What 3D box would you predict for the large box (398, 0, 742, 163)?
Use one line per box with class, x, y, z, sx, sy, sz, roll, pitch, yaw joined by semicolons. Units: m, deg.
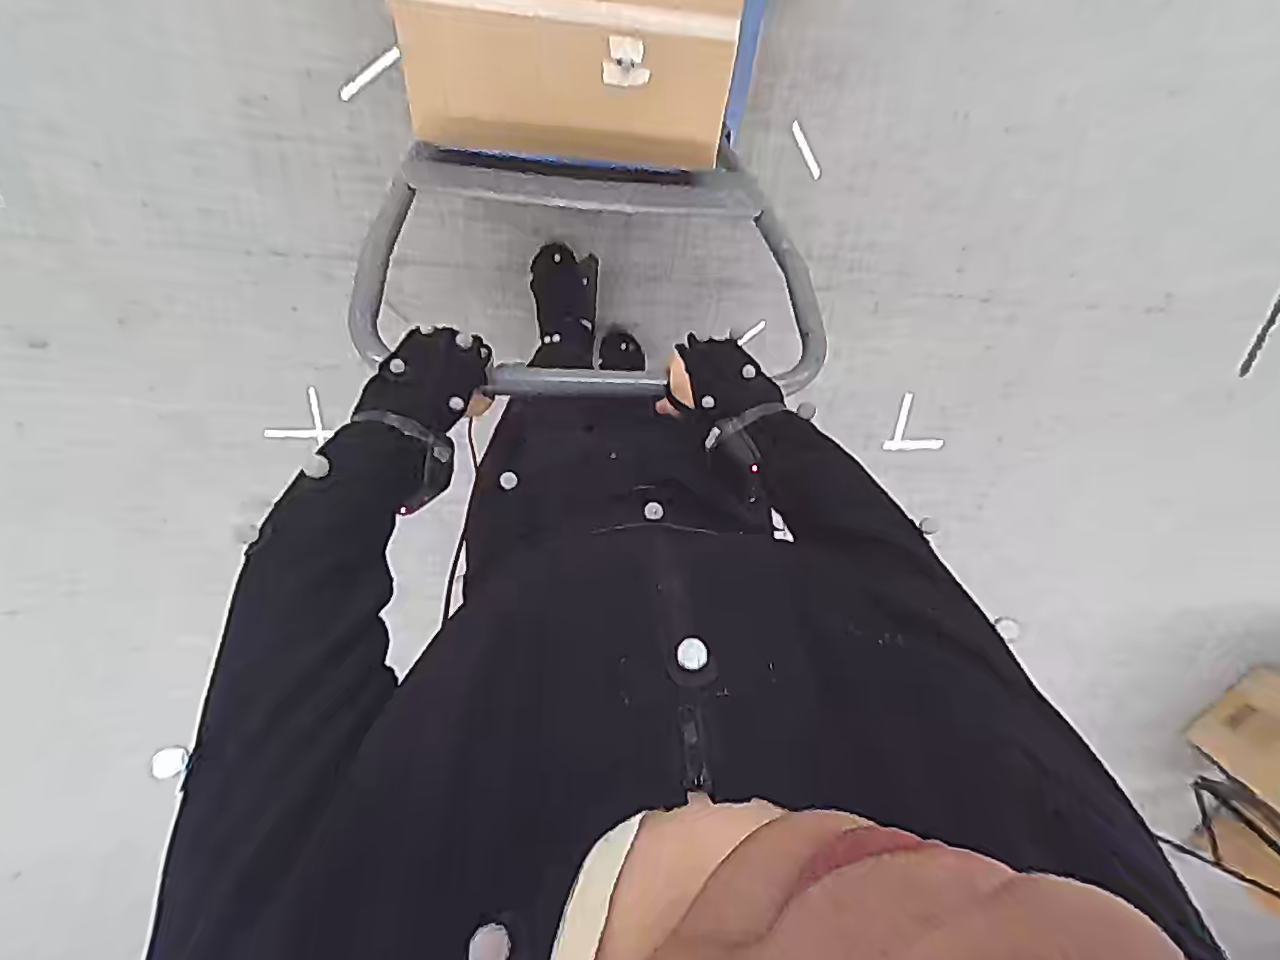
large box;-0.096;-0.655;0.730;0.408;0.320;0.320;-1;136;-10
